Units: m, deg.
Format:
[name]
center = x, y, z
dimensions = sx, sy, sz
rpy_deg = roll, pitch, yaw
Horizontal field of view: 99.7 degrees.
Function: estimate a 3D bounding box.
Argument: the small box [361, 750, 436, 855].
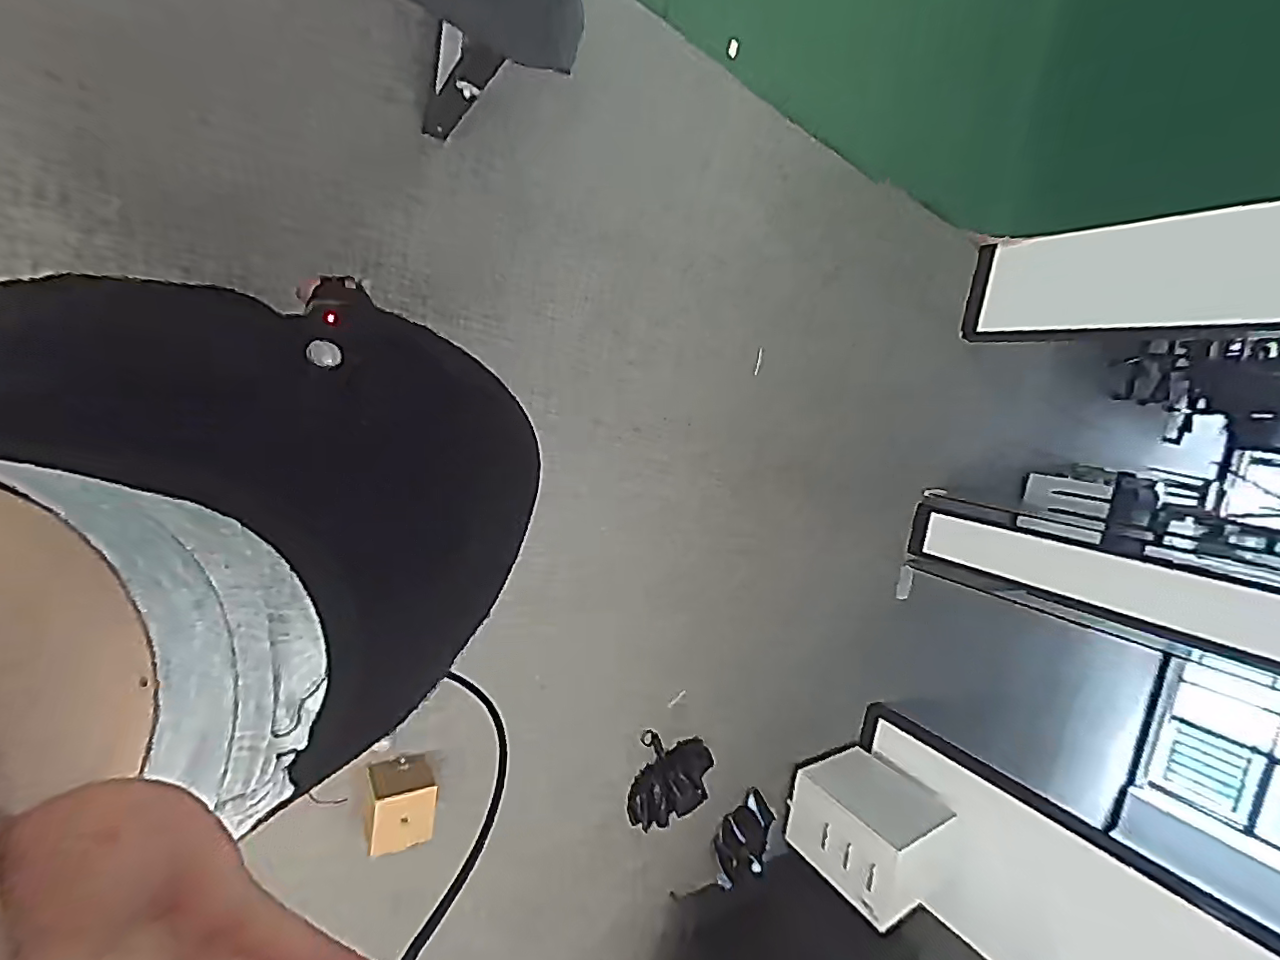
[small box]
center = -0.706, 0.929, 1.575
dimensions = 0.168, 0.176, 0.179
rpy_deg = 2, 99, -36
